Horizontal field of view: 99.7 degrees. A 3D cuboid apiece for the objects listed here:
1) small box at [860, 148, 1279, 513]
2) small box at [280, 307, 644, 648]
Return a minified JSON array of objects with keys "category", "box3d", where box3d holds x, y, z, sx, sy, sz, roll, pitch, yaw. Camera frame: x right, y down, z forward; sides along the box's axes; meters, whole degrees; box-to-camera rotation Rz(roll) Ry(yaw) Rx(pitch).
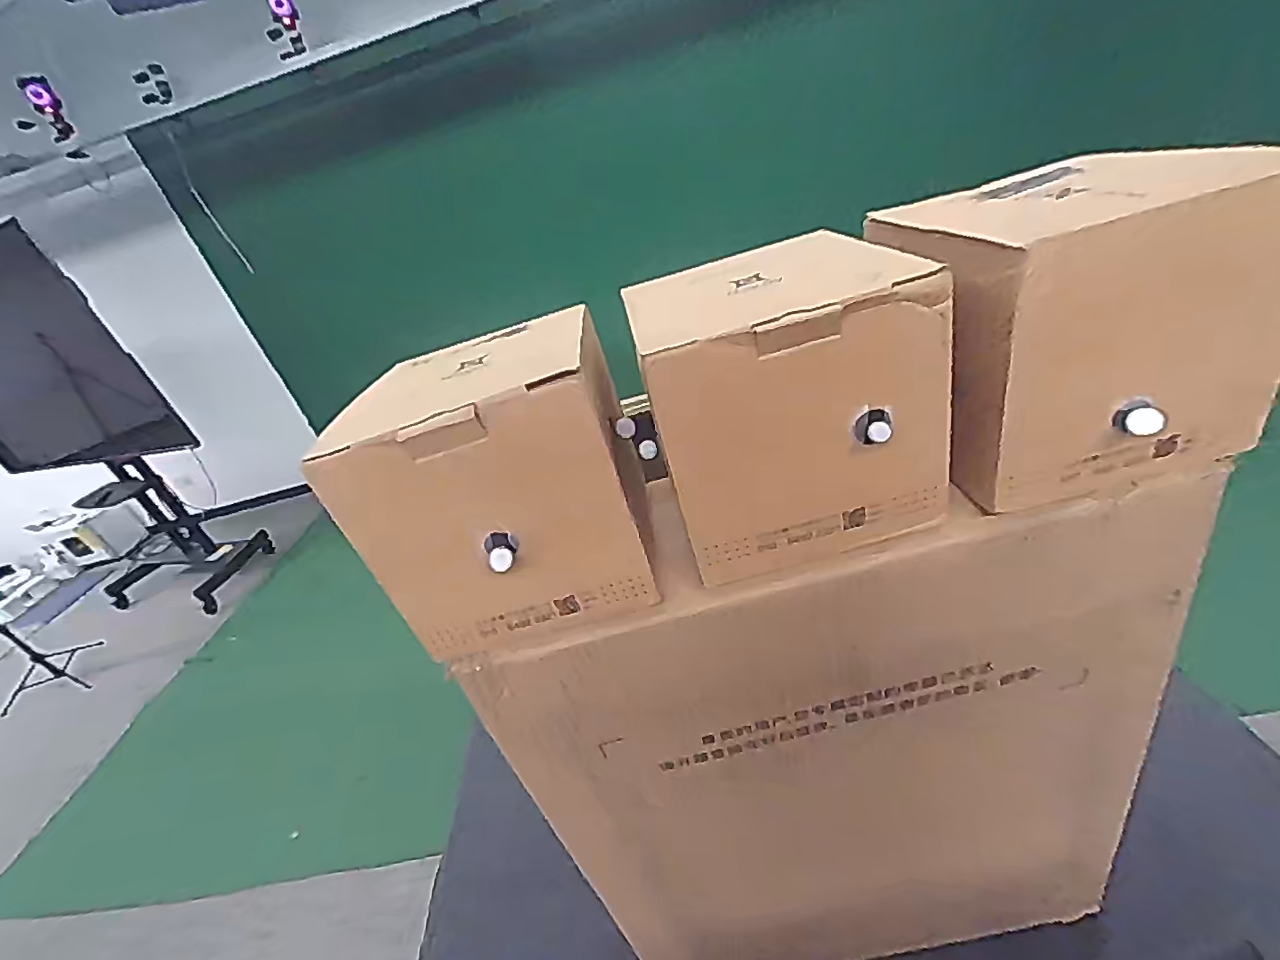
[{"category":"small box","box3d":[0.264,-0.104,0.364,0.168,0.176,0.179,-15,31,4]},{"category":"small box","box3d":[-0.100,-0.001,0.395,0.168,0.176,0.179,-16,30,5]}]
